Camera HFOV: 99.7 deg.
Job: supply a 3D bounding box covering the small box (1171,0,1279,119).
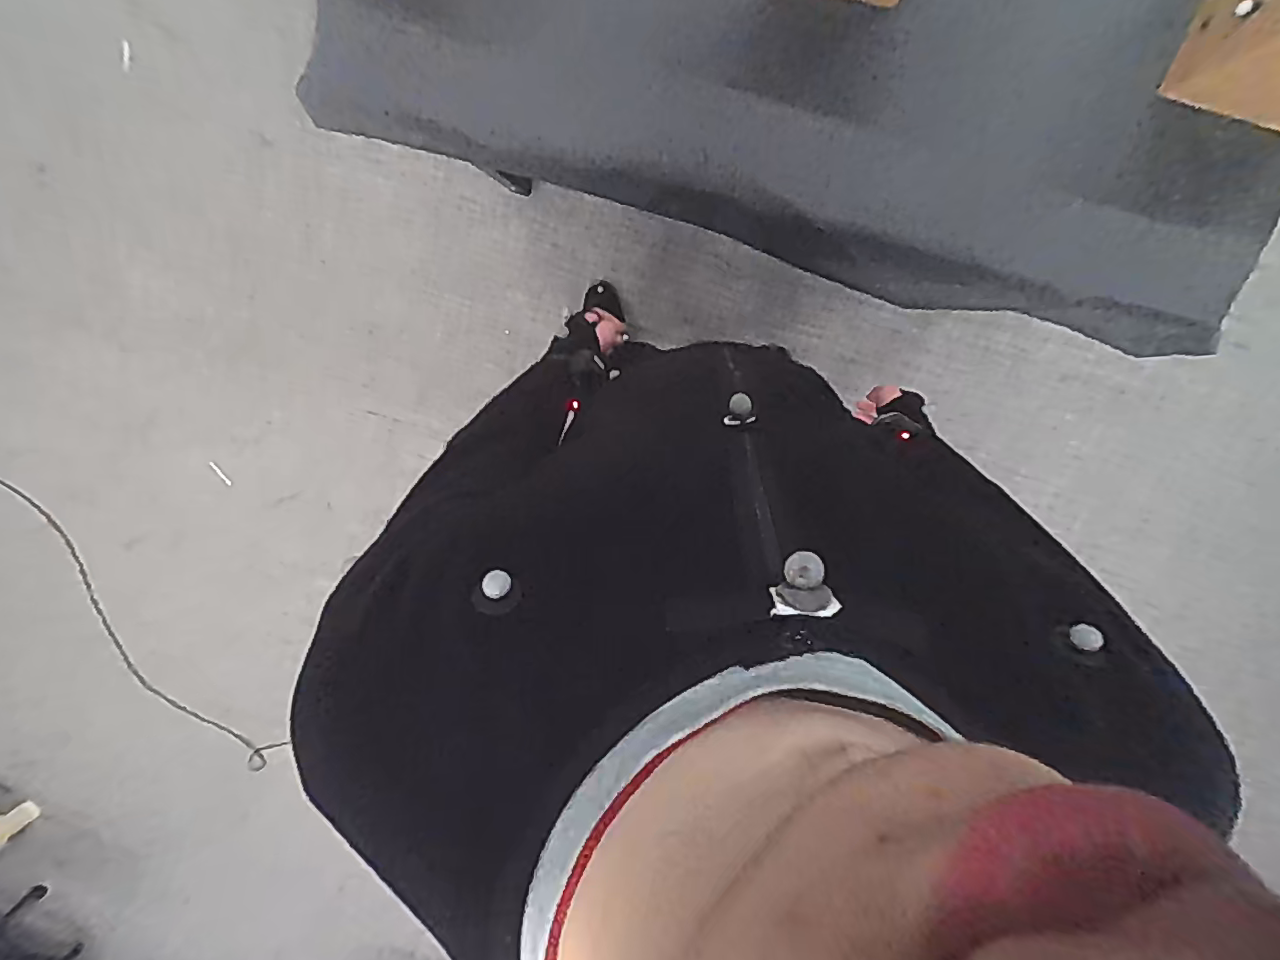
[{"bbox_3d":[0.699,-0.482,0.525,0.179,0.176,0.168,16,110,-1],"label":"small box"}]
